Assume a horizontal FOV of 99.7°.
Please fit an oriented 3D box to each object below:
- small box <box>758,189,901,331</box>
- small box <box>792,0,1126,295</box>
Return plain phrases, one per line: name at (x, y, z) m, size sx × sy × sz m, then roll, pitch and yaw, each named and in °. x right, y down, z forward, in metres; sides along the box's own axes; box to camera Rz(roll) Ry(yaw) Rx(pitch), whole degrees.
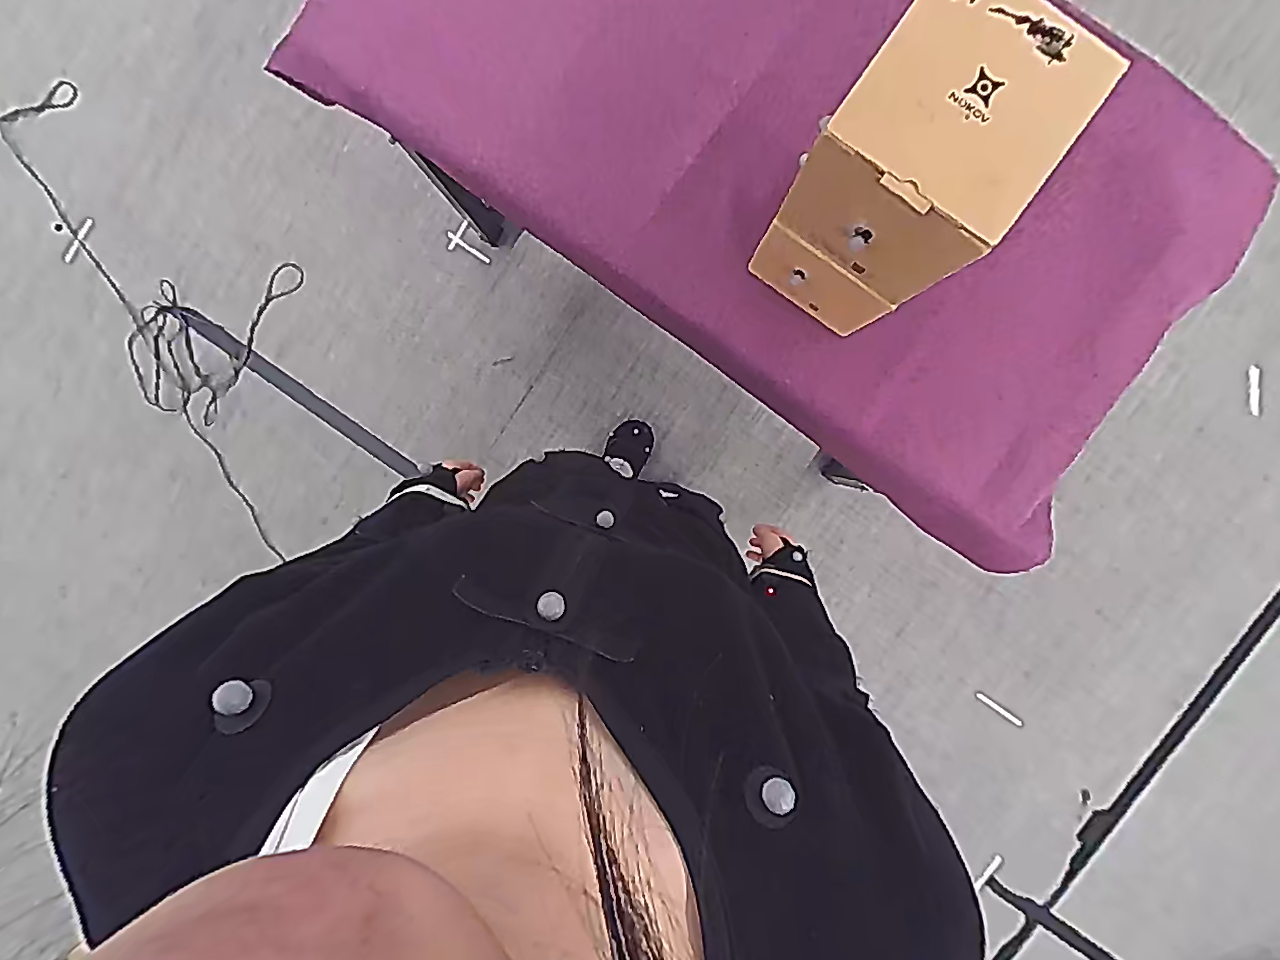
small box at (0.262, -0.309, 0.663) m, size 0.168 × 0.176 × 0.179 m, roll 35°, pitch 93°, yaw -1°
small box at (0.262, -0.301, 0.499) m, size 0.168 × 0.176 × 0.179 m, roll 36°, pitch 94°, yaw -1°
